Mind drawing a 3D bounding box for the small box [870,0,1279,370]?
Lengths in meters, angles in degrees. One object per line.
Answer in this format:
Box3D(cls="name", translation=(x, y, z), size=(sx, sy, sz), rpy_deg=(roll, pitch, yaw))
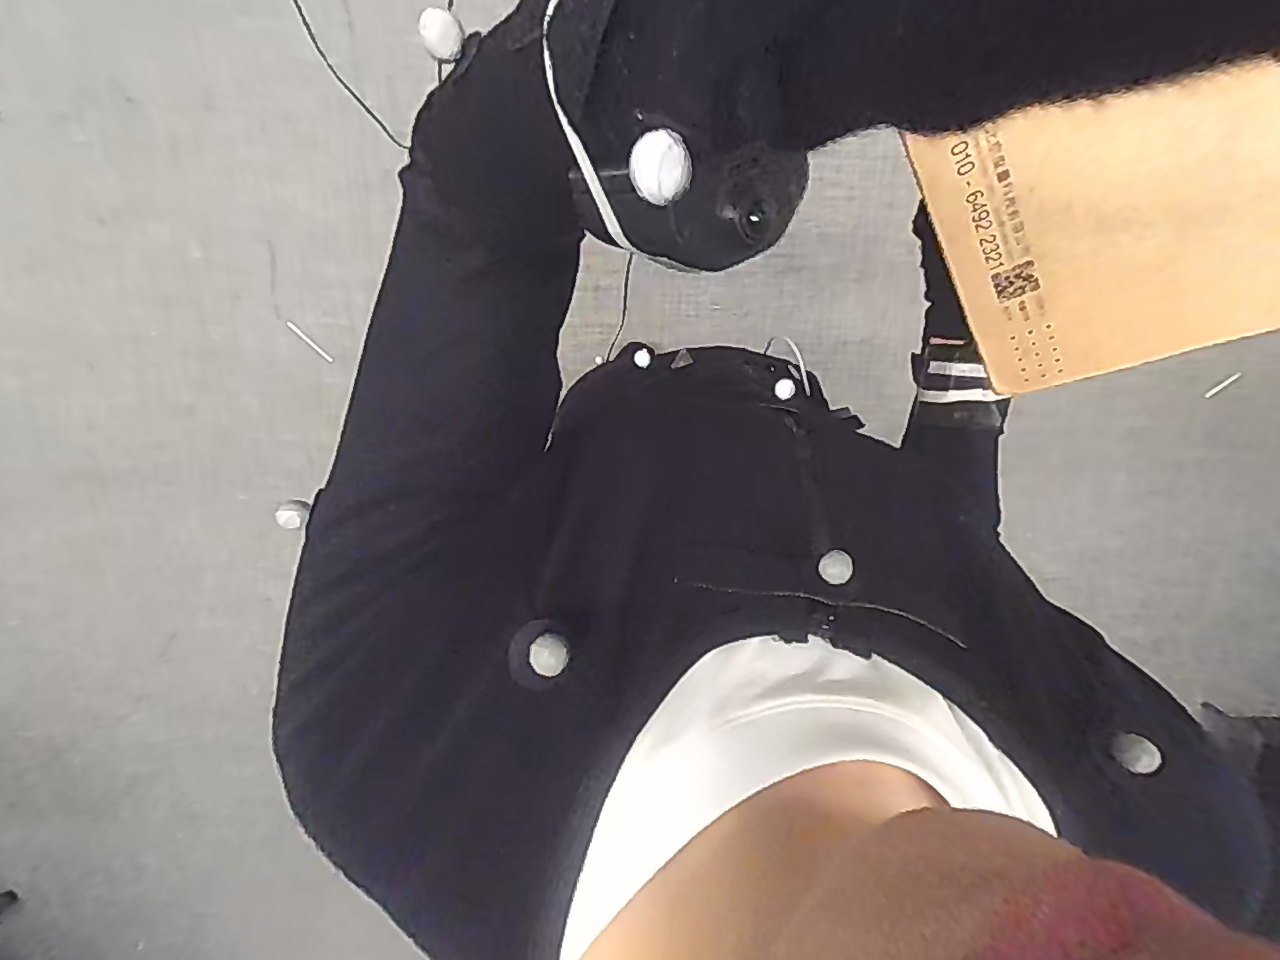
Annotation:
Box3D(cls="small box", translation=(0.213, -0.180, 0.235), size=(0.176, 0.179, 0.168), rpy_deg=(-16, 127, 38))
